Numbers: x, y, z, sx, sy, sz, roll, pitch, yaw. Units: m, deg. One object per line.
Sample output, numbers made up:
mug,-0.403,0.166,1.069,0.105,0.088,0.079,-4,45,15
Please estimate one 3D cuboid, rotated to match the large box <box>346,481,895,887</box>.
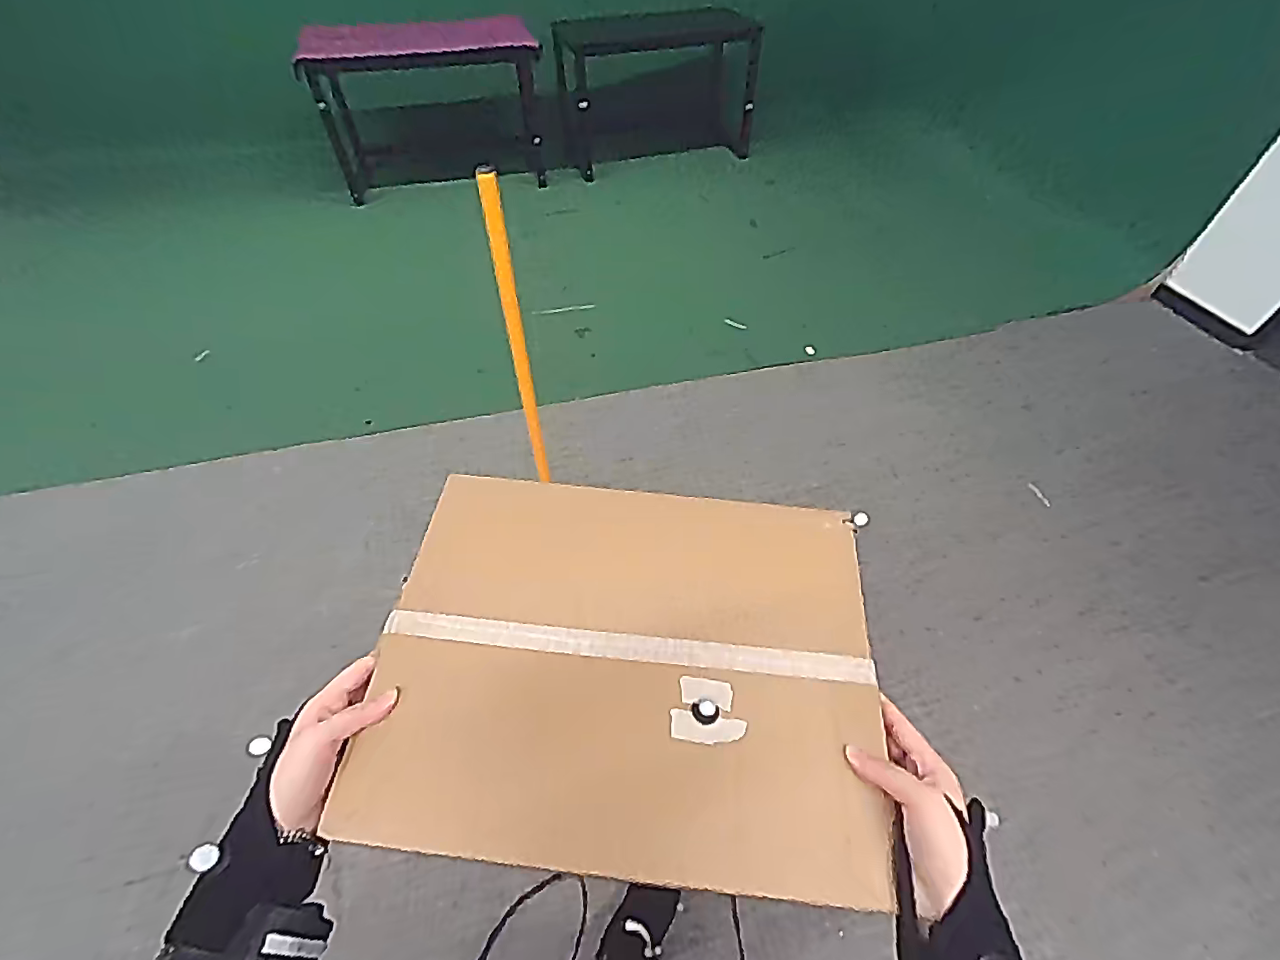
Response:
large box,-0.010,0.228,0.589,0.408,0.320,0.320,6,55,2
